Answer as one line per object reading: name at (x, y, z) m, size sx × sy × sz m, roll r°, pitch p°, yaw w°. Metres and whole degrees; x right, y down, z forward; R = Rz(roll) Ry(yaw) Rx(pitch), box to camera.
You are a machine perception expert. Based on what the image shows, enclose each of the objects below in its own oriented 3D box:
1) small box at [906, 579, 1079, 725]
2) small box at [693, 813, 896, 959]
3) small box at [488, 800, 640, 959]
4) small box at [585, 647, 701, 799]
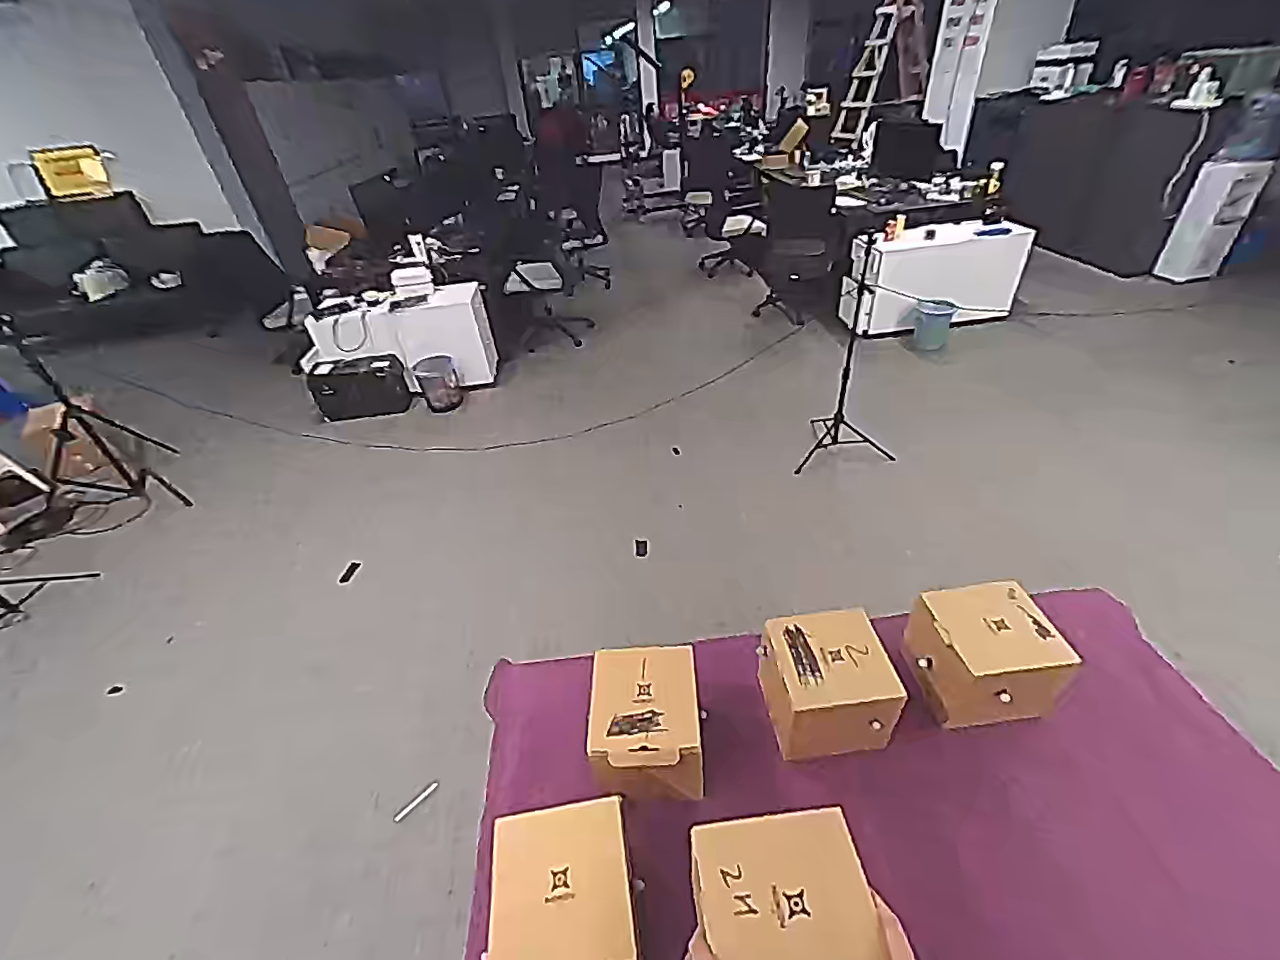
small box at (0.579, 0.297, 0.924) m, size 0.179 × 0.176 × 0.168 m, roll -8°, pitch 40°, yaw -1°
small box at (0.156, 0.494, 0.589) m, size 0.179 × 0.176 × 0.168 m, roll -7°, pitch 37°, yaw -2°
small box at (-0.092, 0.549, 0.689) m, size 0.168 × 0.176 × 0.179 m, roll -8°, pitch 38°, yaw -6°
small box at (0.010, 0.397, 0.876) m, size 0.168 × 0.176 × 0.179 m, roll -4°, pitch 37°, yaw 3°
